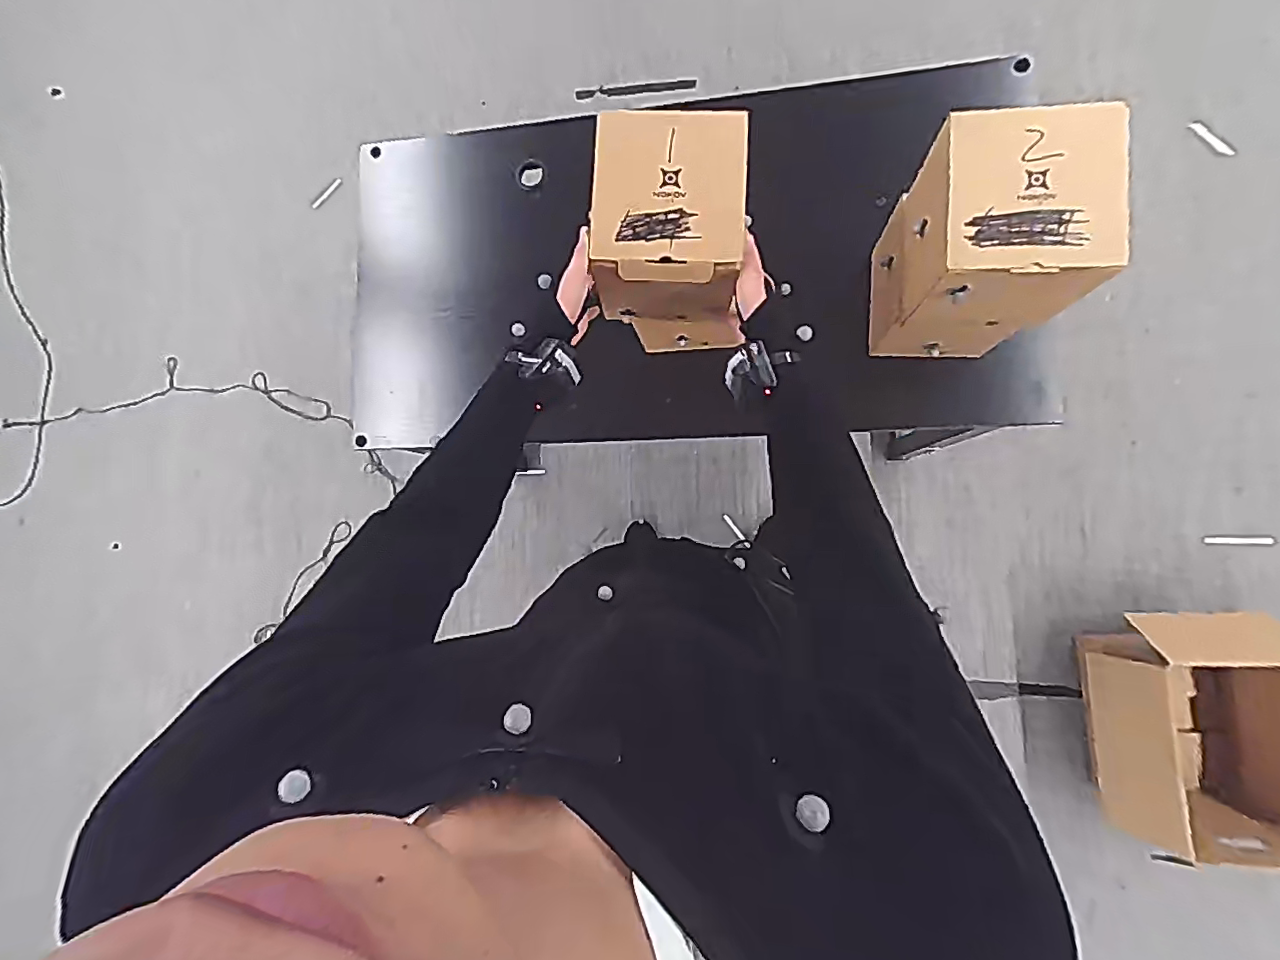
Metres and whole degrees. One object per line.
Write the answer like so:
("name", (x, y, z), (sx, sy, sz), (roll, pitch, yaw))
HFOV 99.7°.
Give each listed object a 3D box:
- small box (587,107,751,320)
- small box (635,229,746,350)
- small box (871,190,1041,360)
("small box", (0.035, -0.303, 0.648), (0.168, 0.176, 0.179), (3, 86, 3))
("small box", (0.078, -0.317, 0.847), (0.168, 0.176, 0.179), (-2, 86, 9))
("small box", (0.442, -0.287, 0.782), (0.168, 0.176, 0.179), (4, 87, 11))
